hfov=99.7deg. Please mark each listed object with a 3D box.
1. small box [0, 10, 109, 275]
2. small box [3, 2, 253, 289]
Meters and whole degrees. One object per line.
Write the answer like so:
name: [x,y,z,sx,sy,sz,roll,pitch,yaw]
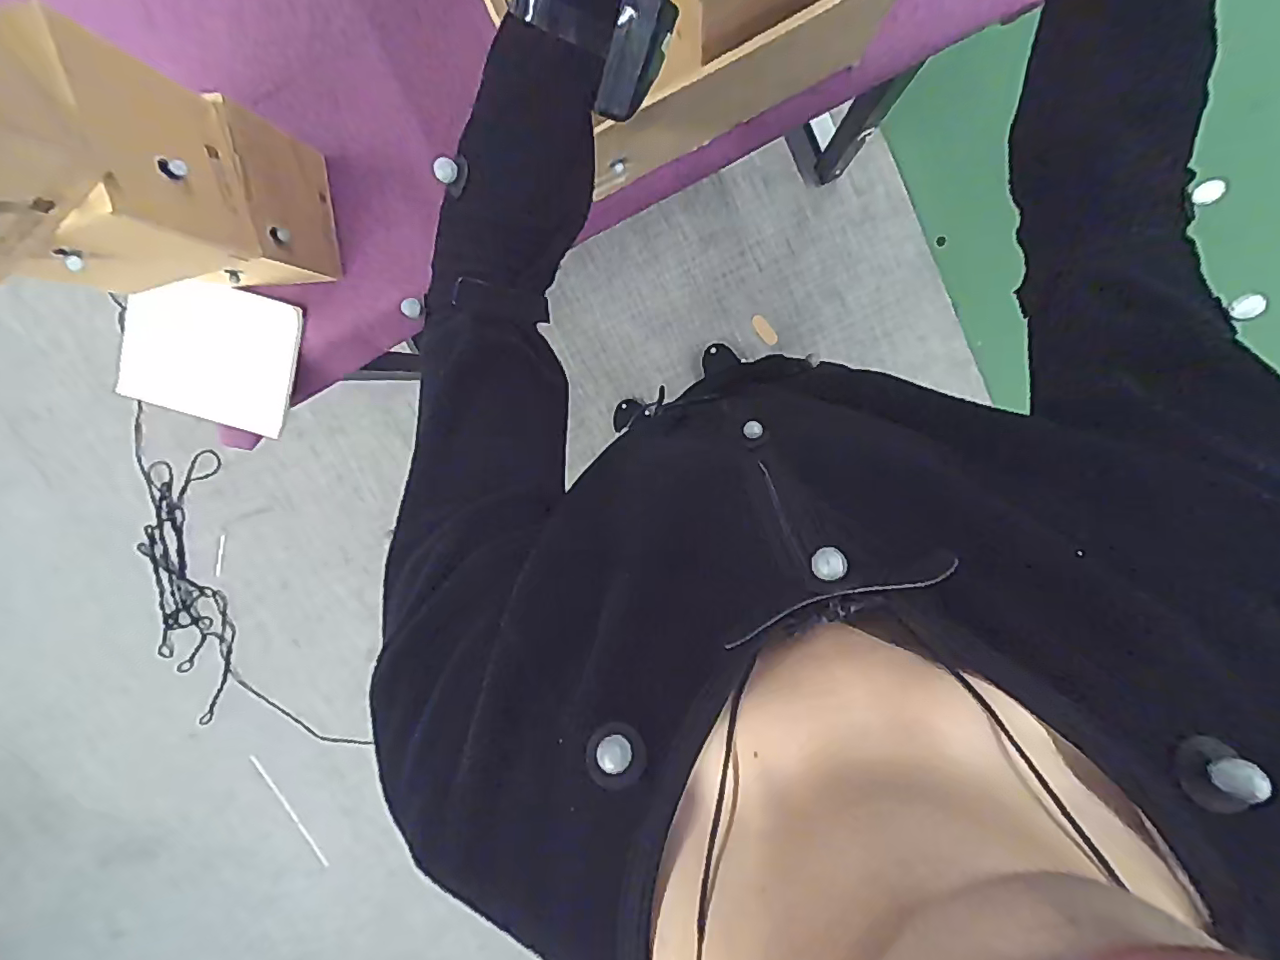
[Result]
small box: [-0.544,-0.268,0.365,0.168,0.176,0.179,-34,96,11]
small box: [-0.524,-0.297,0.526,0.179,0.176,0.168,-11,99,7]
